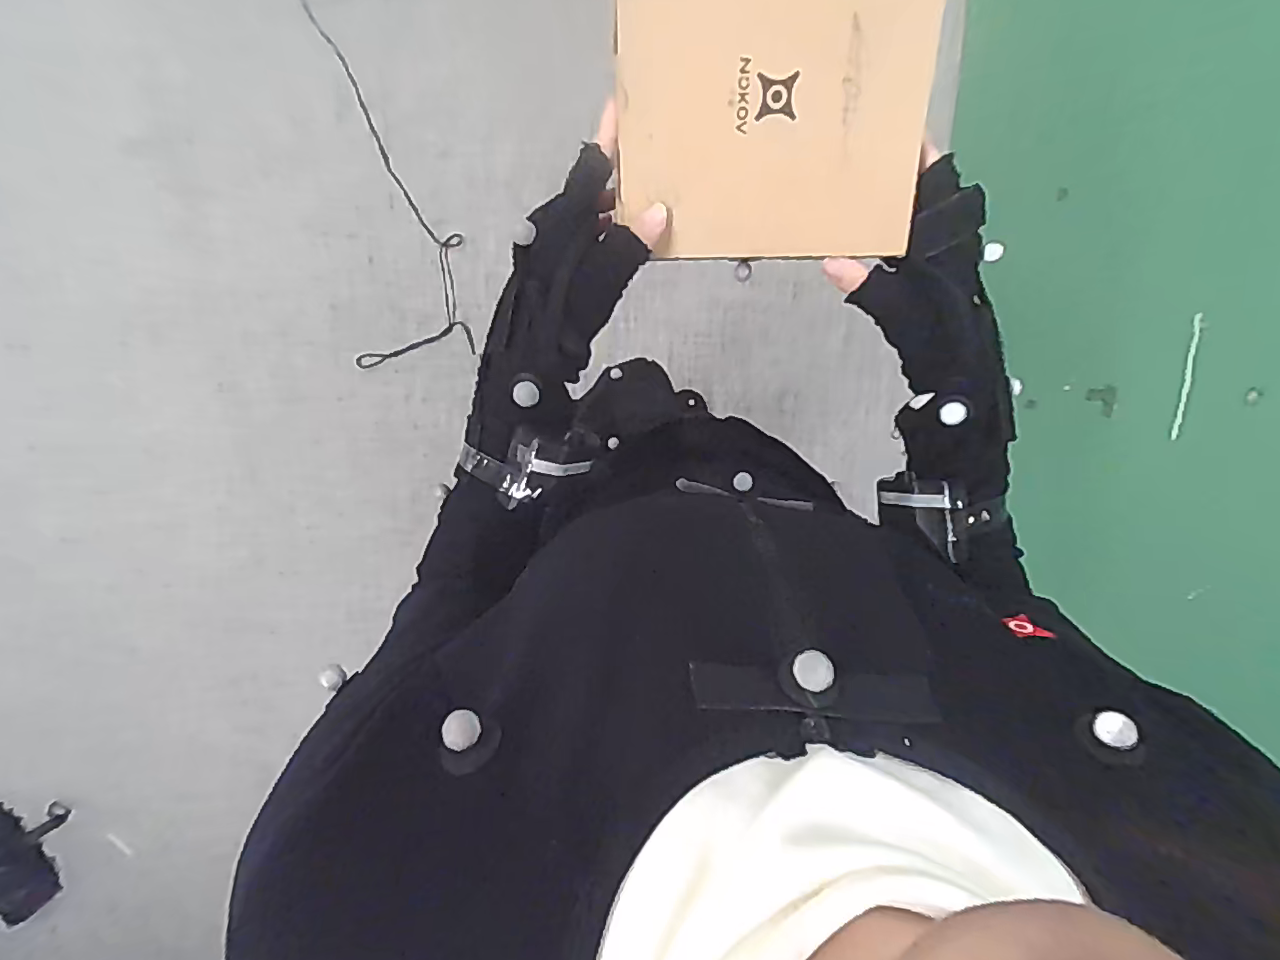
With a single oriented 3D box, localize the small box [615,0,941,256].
[{"bbox_3d":[0.078,-0.248,0.380,0.179,0.176,0.168,-1,113,2],"label":"small box"}]
